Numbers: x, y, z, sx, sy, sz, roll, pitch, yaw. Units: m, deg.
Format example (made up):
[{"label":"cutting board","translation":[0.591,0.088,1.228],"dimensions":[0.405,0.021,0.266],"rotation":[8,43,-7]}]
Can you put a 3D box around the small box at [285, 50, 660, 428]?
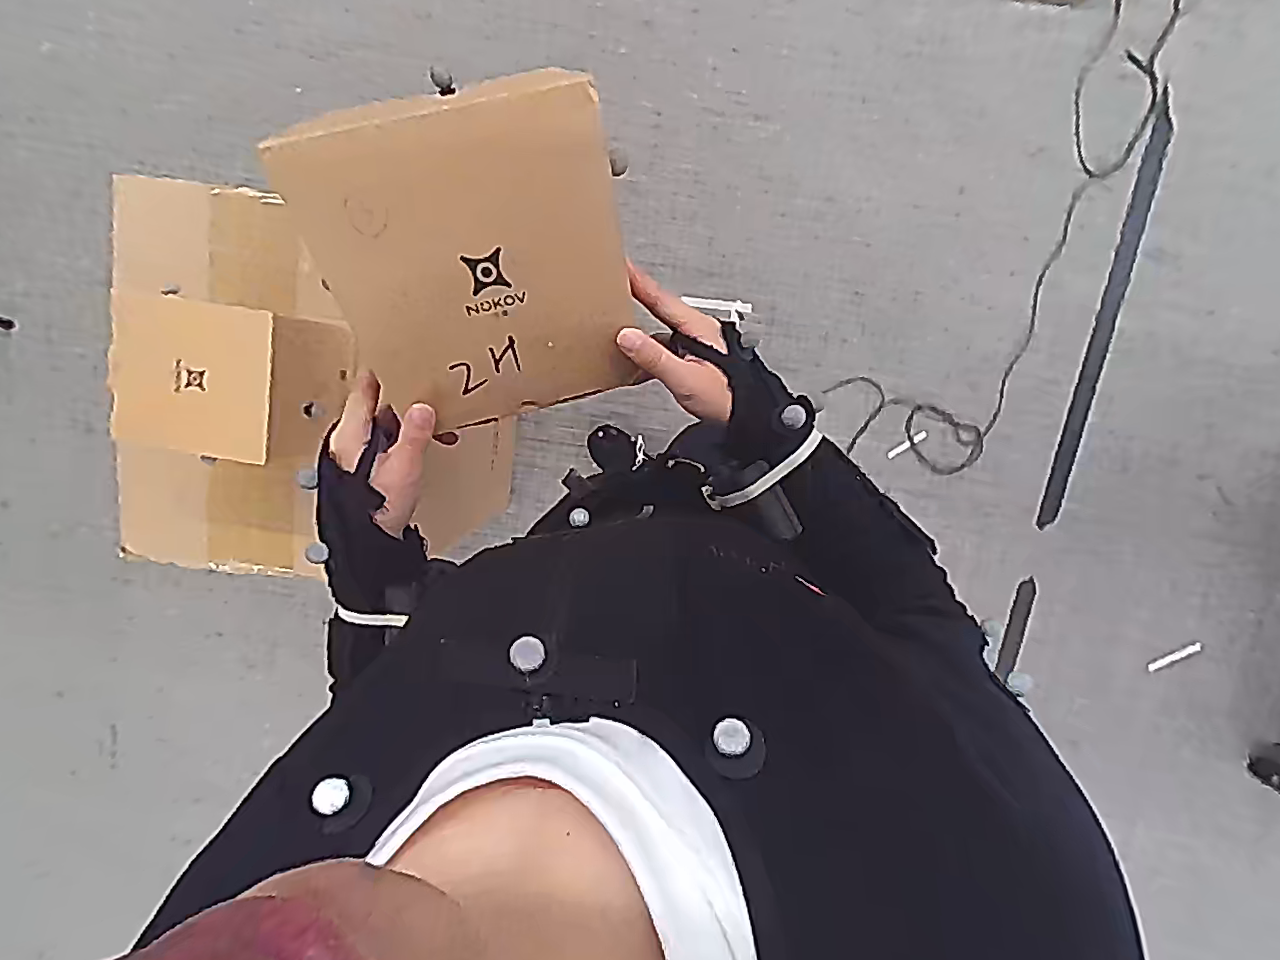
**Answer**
[{"label":"small box","translation":[-0.093,-0.165,0.365],"dimensions":[0.168,0.176,0.179],"rotation":[-14,129,-6]}]

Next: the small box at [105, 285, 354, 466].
[{"label":"small box","translation":[-0.469,-0.120,0.643],"dimensions":[0.179,0.176,0.168],"rotation":[9,99,0]}]
